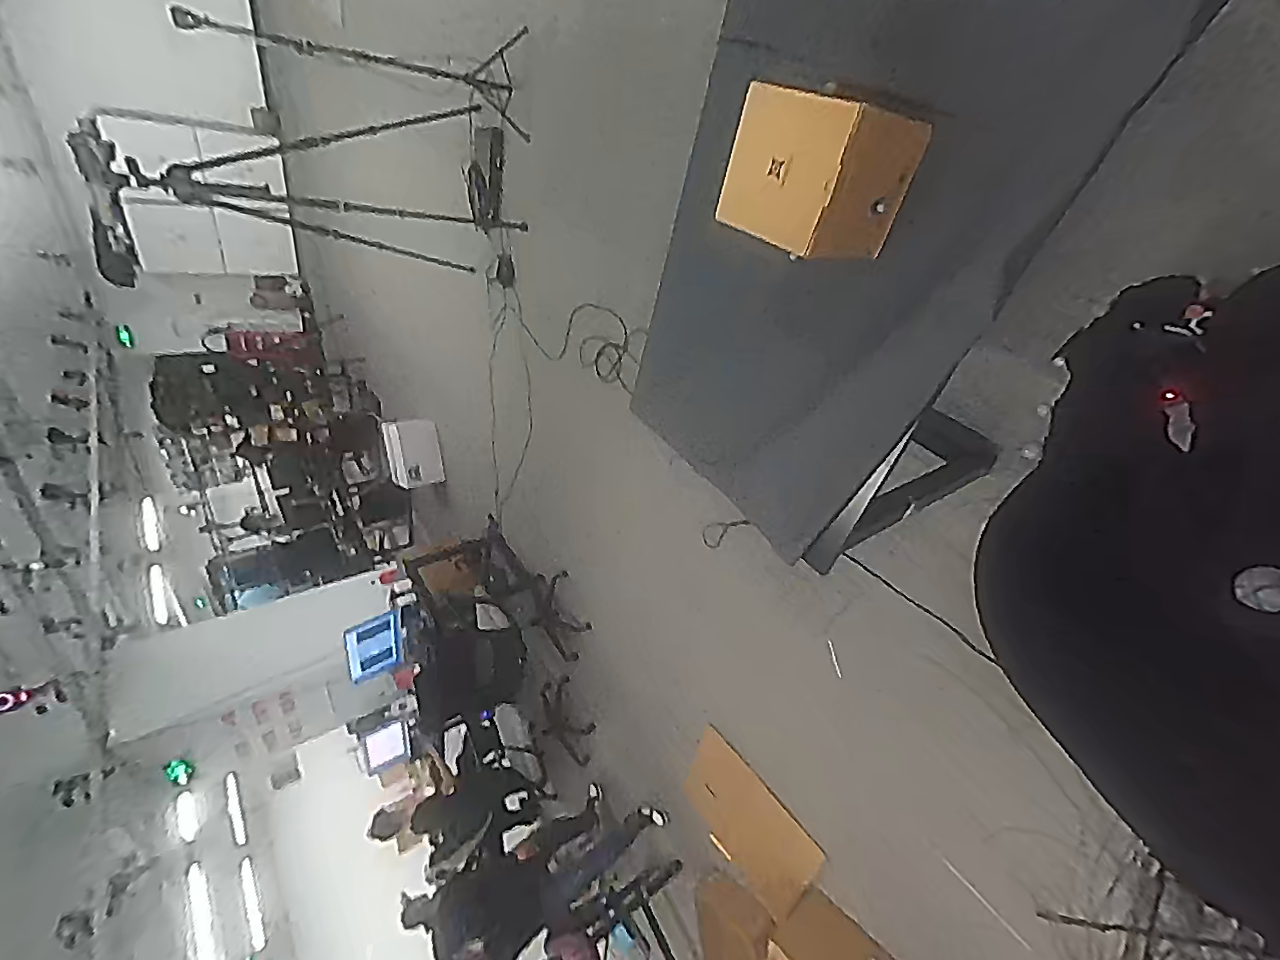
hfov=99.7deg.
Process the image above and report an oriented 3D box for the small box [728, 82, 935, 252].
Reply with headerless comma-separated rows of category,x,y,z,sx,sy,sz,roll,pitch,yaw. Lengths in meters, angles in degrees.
small box,0.258,-0.421,0.745,0.179,0.176,0.168,43,134,35
